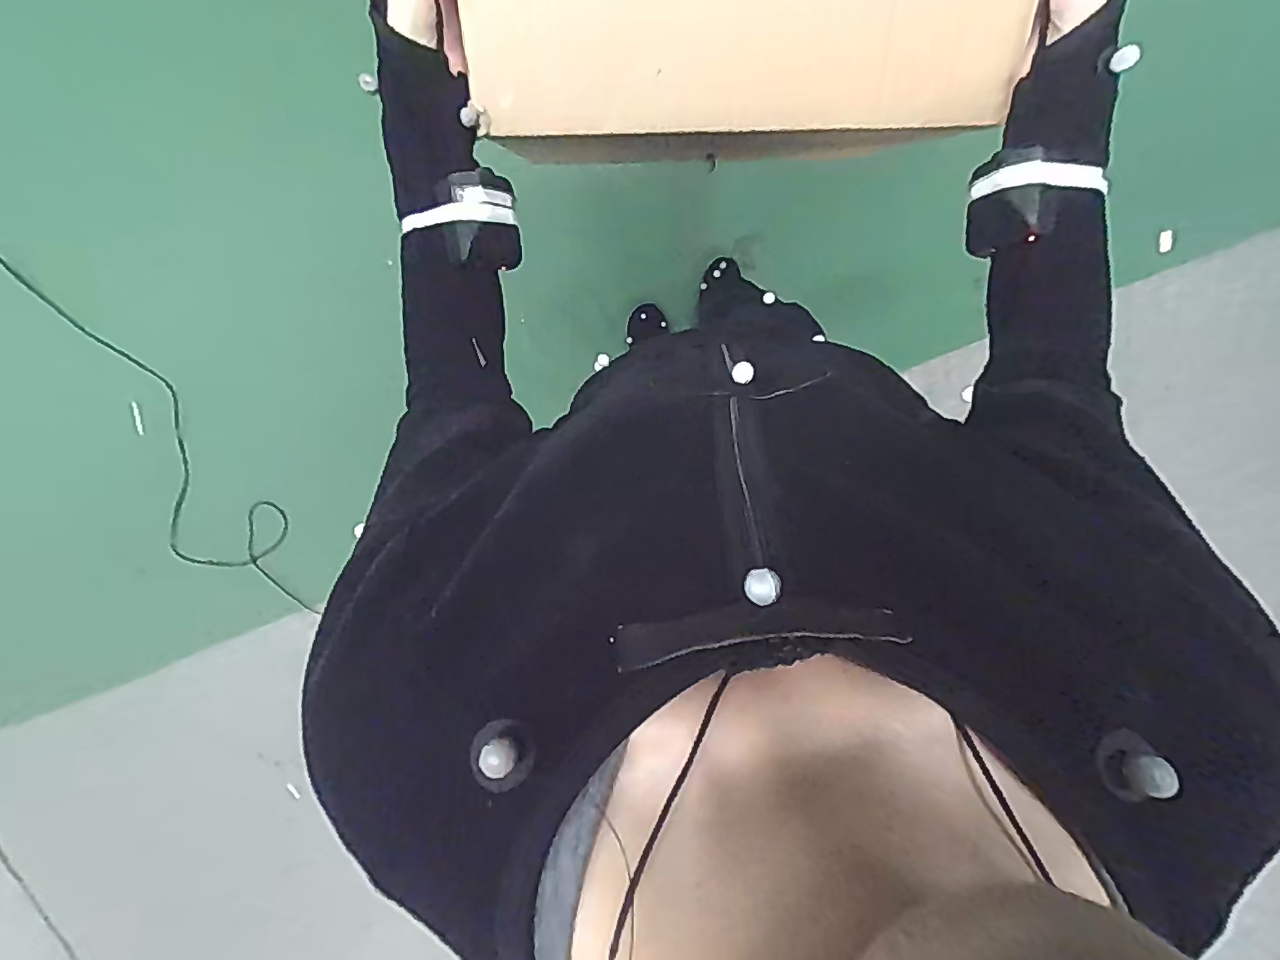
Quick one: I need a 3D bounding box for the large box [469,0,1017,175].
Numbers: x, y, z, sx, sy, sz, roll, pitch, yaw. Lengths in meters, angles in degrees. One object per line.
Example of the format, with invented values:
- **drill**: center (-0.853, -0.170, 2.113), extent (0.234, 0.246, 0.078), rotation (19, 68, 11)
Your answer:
- **large box**: center (0.072, -0.466, 0.494), extent (0.408, 0.320, 0.320), rotation (-2, 115, -1)
